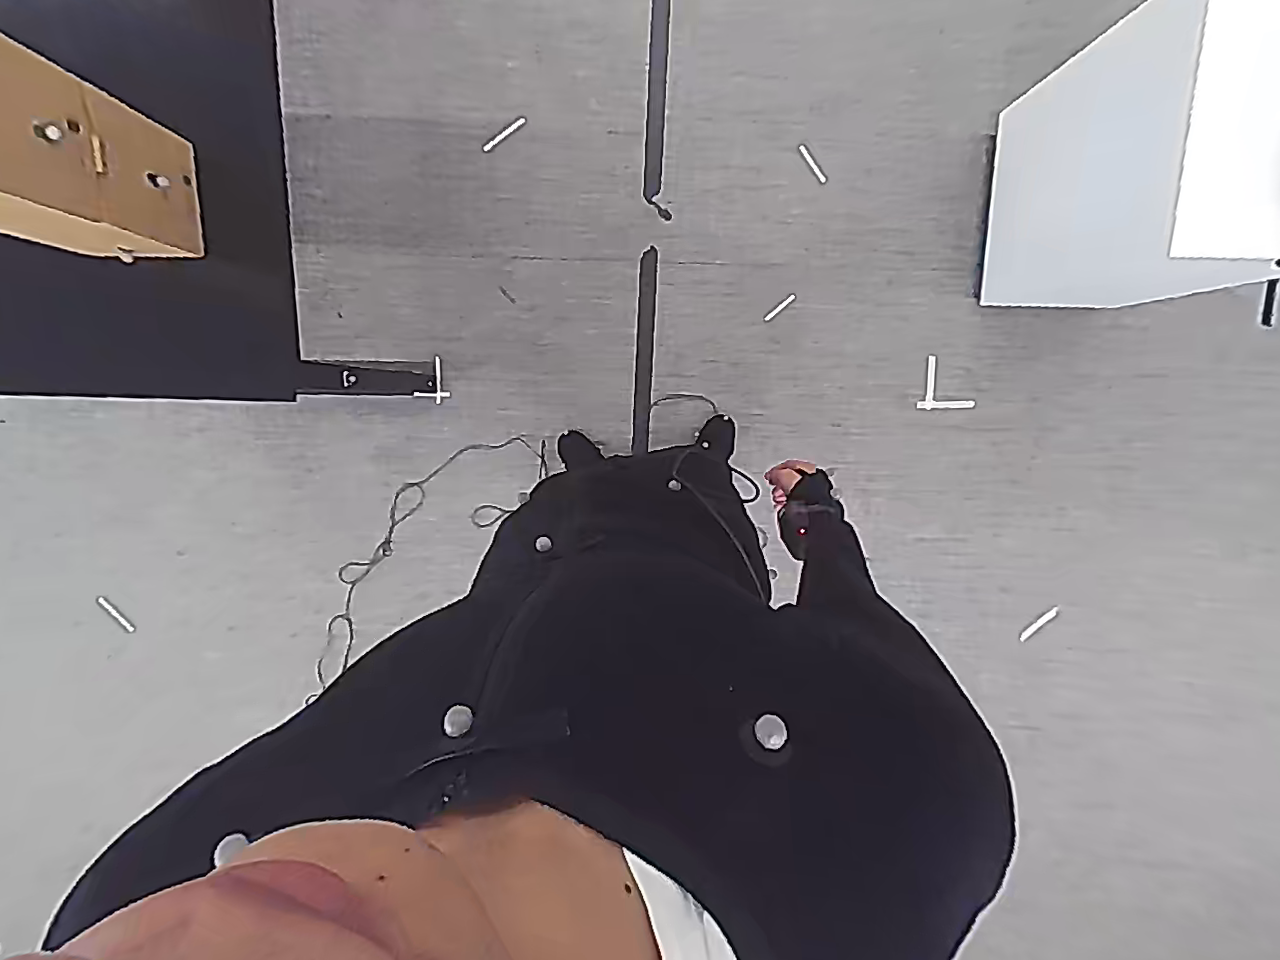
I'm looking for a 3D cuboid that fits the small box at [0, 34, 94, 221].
[{"bbox_3d":[-0.751,-0.386,0.571,0.179,0.176,0.168,0,99,-1],"label":"small box"}]

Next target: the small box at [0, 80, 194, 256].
[{"bbox_3d":[-0.753,-0.411,0.734,0.179,0.176,0.168,-1,99,-2],"label":"small box"}]
